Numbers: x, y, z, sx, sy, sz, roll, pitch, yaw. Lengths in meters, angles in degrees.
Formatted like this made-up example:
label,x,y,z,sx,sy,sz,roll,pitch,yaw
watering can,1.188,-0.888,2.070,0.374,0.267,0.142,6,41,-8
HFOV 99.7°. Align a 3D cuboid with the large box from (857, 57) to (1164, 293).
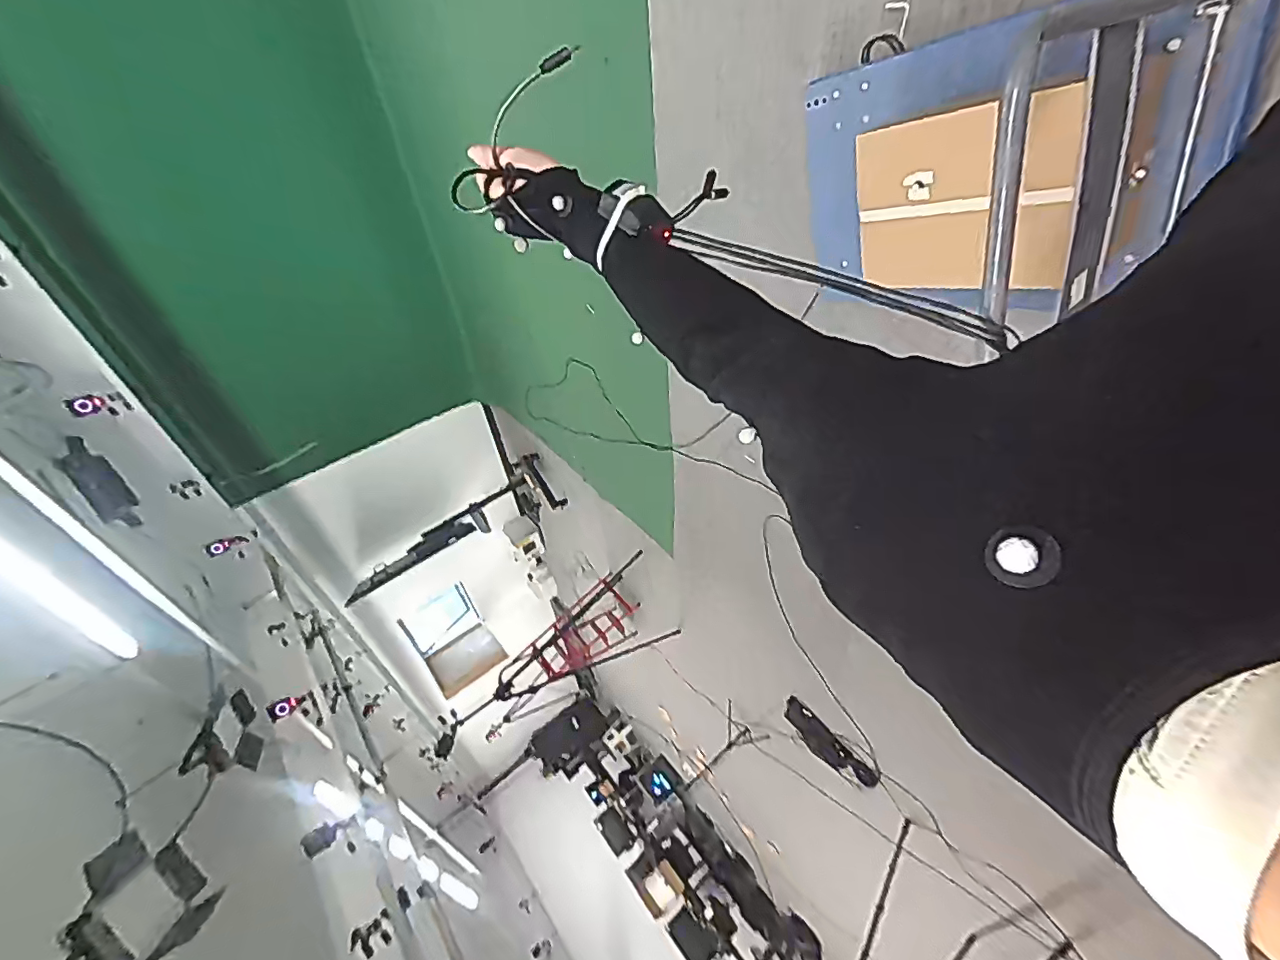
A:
label,x,y,z,sx,sy,sz,roll,pitch,yaw
large box,0.713,-0.584,1.088,0.408,0.320,0.320,27,140,50
